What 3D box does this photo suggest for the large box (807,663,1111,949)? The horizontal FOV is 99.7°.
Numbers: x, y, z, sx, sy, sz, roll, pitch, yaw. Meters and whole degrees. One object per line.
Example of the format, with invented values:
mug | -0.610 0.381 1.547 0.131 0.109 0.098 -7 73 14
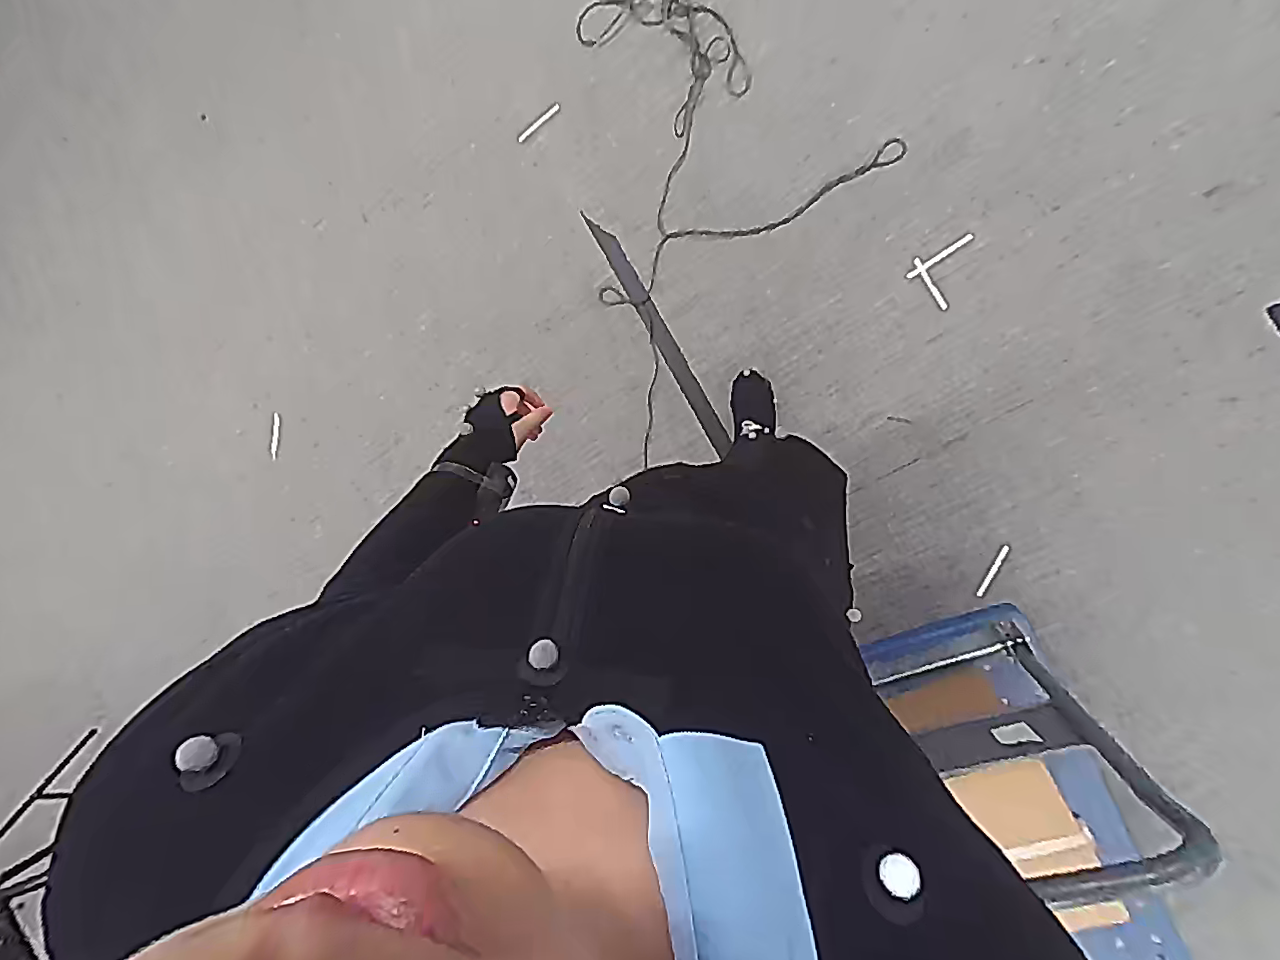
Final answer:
large box | 0.596 0.642 1.105 0.408 0.320 0.320 -30 88 19
